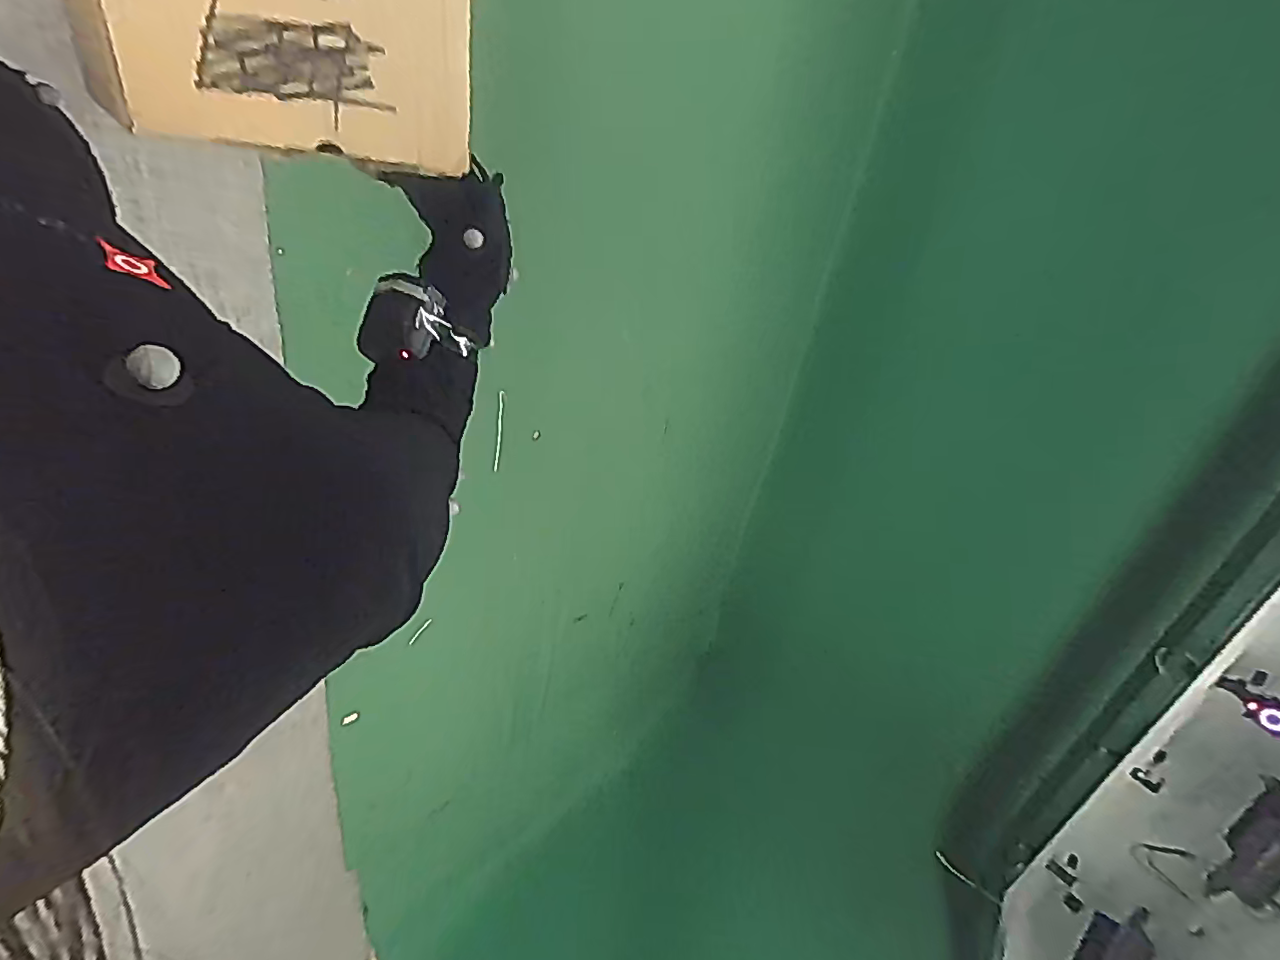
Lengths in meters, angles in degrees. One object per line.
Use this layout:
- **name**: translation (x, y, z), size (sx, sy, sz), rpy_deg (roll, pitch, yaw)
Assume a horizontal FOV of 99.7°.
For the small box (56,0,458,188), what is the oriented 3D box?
- **small box**: translation (-0.219, -0.287, 0.306), size (0.168, 0.176, 0.179), rpy_deg (-19, 133, -42)
